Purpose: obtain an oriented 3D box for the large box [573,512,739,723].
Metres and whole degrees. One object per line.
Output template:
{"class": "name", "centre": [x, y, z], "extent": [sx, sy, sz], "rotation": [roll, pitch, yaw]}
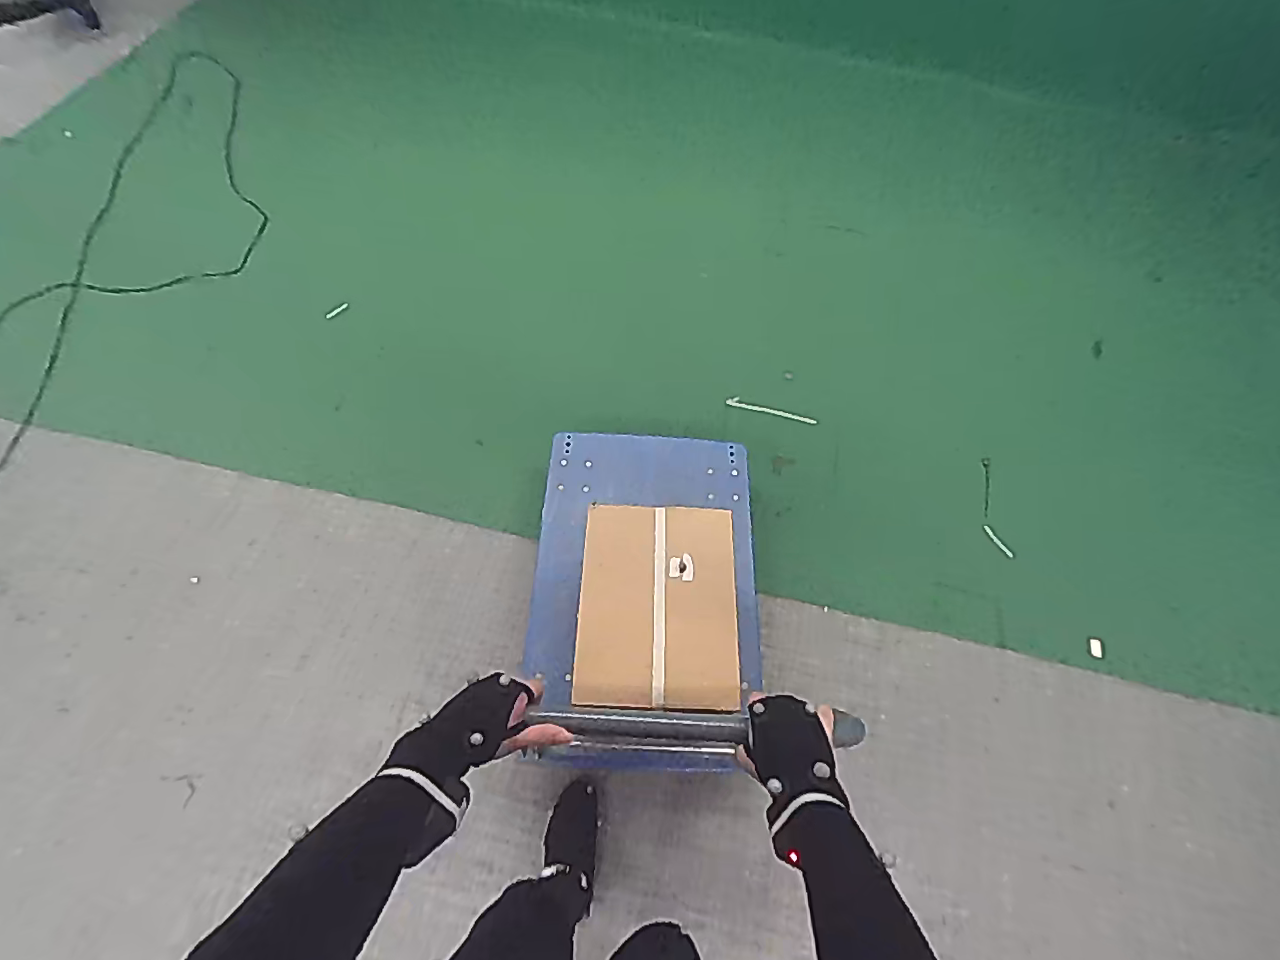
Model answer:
{"class": "large box", "centre": [0.030, 0.320, 1.220], "extent": [0.320, 0.320, 0.408], "rotation": [3, 61, -1]}
